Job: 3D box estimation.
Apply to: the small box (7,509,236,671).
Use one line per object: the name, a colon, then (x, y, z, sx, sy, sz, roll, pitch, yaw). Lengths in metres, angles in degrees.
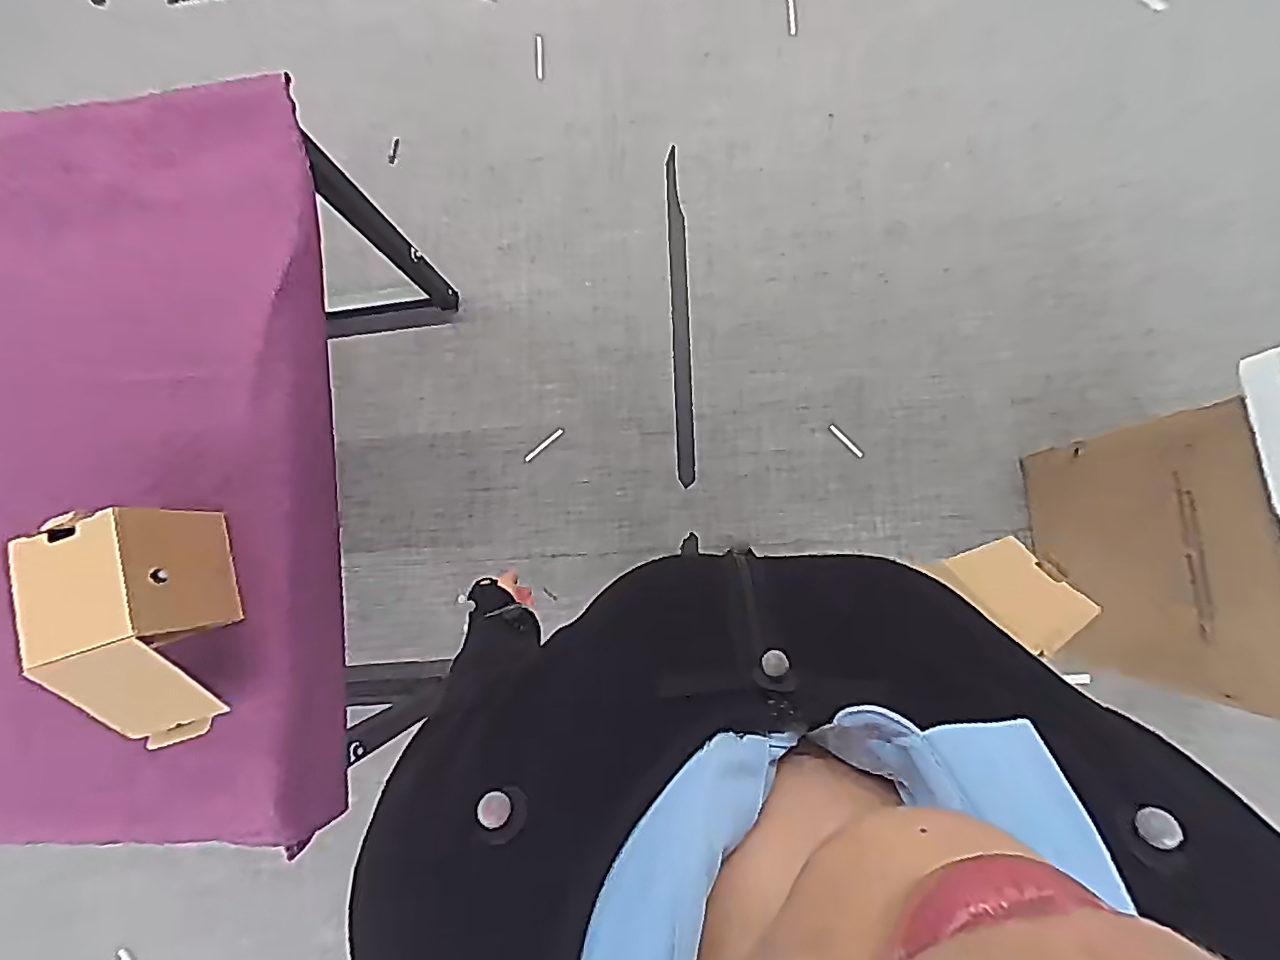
small box: (-0.723, 0.149, 0.773, 0.168, 0.176, 0.179, -17, 81, 4)
